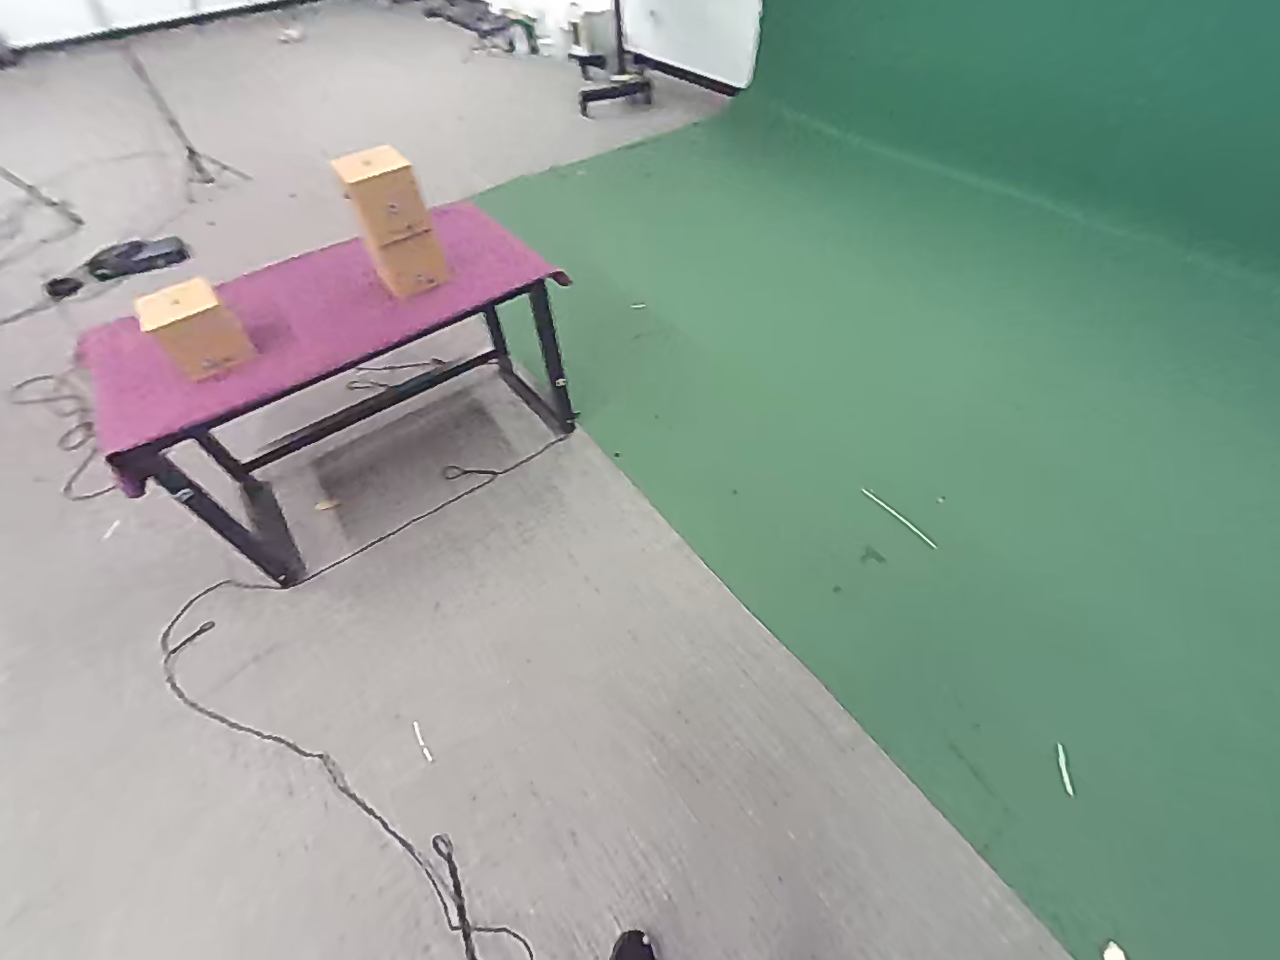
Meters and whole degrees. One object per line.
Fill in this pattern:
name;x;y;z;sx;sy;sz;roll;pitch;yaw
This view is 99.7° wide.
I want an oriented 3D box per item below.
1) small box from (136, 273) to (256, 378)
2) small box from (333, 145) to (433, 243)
small box;-1.130;-0.393;1.384;0.168;0.176;0.179;-31;57;-20
small box;-0.681;-0.761;1.448;0.168;0.176;0.179;-30;56;-20
